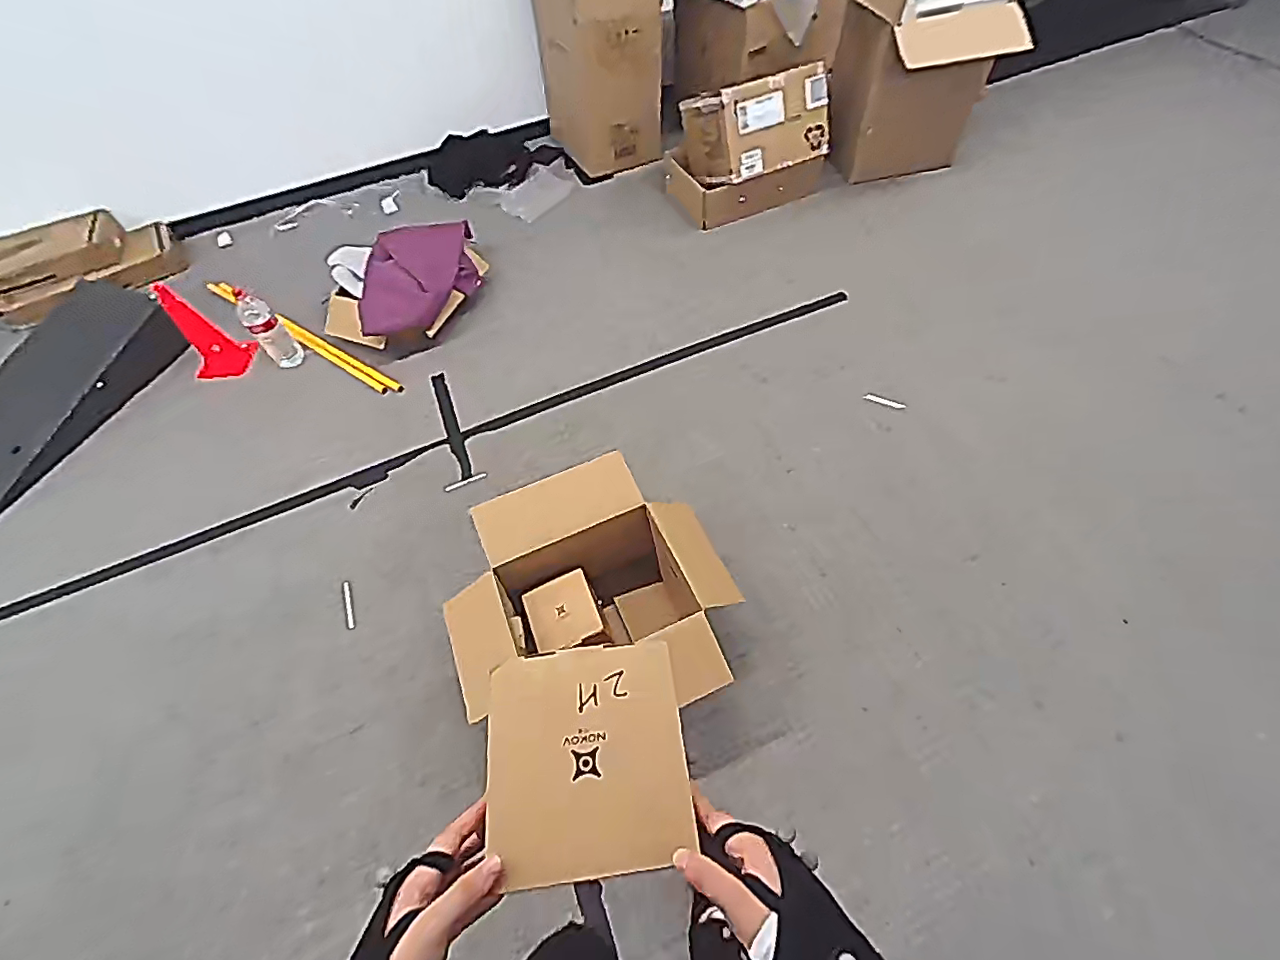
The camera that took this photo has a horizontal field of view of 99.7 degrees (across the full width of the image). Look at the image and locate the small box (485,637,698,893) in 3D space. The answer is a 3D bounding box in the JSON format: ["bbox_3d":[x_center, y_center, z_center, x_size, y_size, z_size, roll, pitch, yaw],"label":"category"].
[{"bbox_3d":[-0.044,0.269,0.517,0.168,0.176,0.179,-6,56,-5],"label":"small box"}]
